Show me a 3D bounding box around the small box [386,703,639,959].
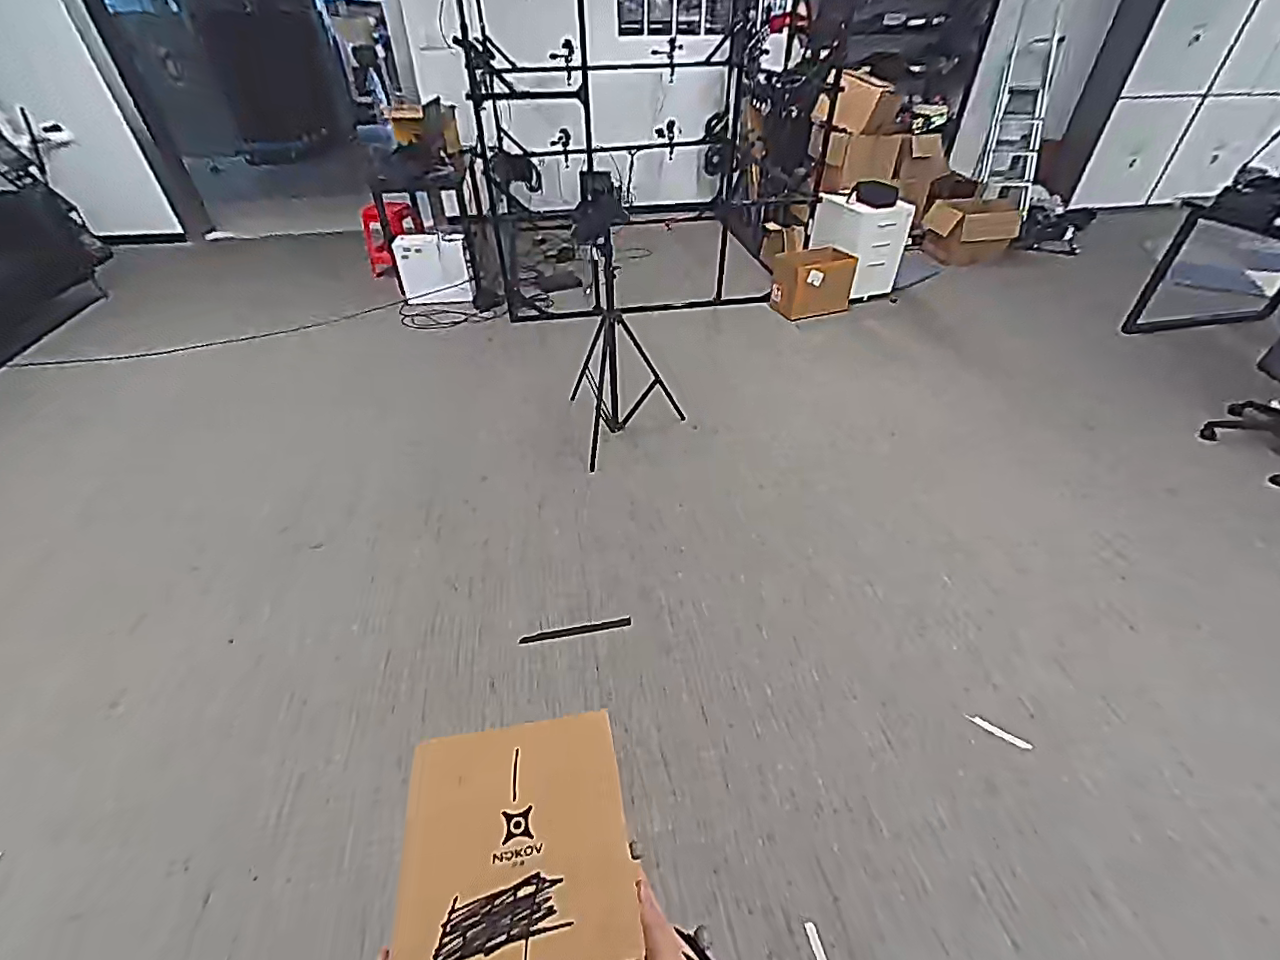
[{"bbox_3d":[-0.094,0.323,0.456,0.168,0.176,0.179,-7,40,-9],"label":"small box"}]
